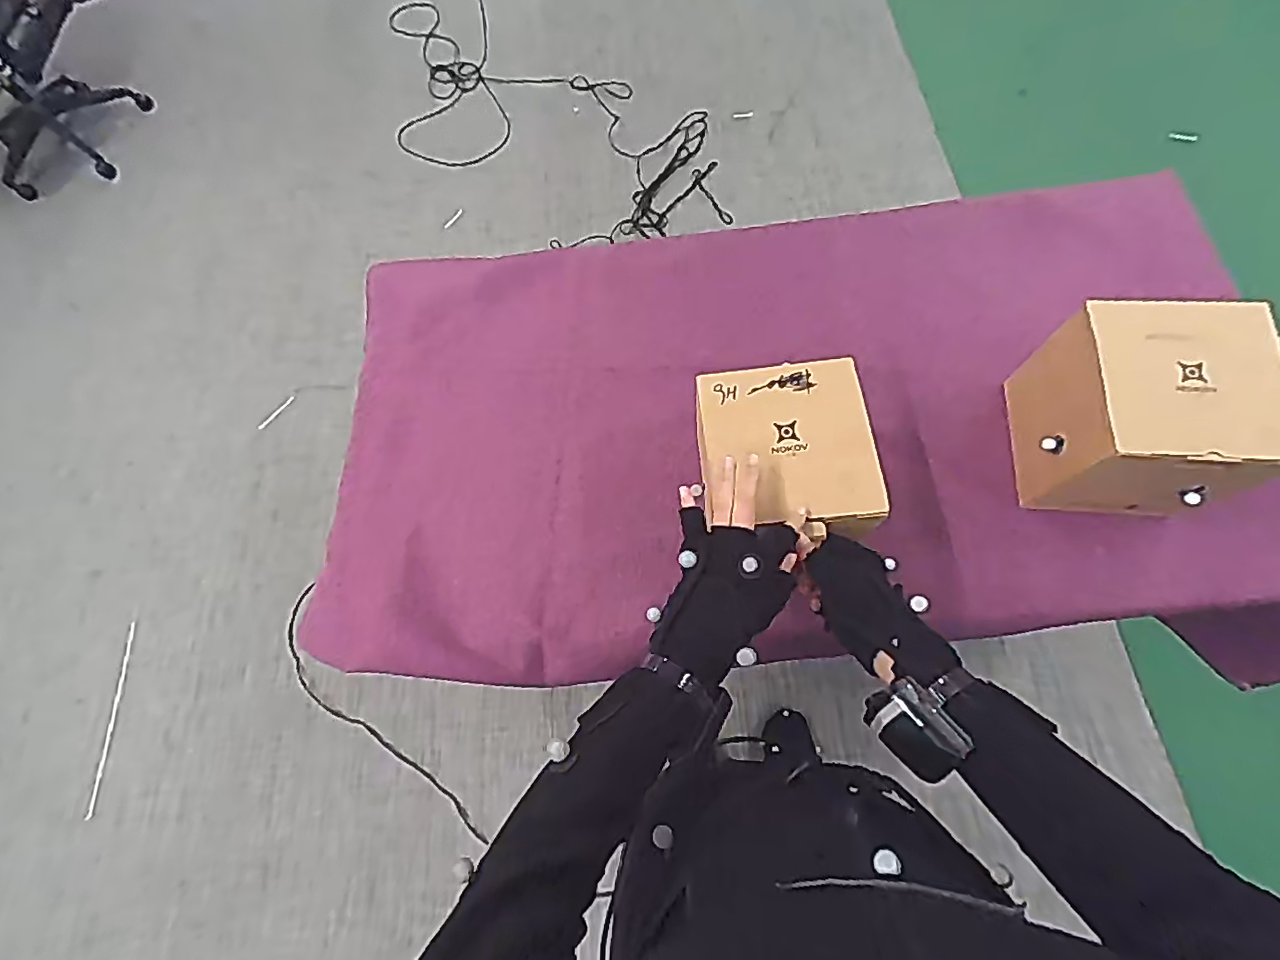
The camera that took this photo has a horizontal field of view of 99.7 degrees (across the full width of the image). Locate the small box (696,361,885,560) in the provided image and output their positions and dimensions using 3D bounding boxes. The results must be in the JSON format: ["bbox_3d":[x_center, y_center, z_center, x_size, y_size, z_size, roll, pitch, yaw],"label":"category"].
[{"bbox_3d":[0.156,-0.009,0.616,0.168,0.176,0.179,-6,69,5],"label":"small box"}]

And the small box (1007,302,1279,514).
[{"bbox_3d":[0.536,-0.069,0.591,0.168,0.176,0.179,4,70,8],"label":"small box"}]
